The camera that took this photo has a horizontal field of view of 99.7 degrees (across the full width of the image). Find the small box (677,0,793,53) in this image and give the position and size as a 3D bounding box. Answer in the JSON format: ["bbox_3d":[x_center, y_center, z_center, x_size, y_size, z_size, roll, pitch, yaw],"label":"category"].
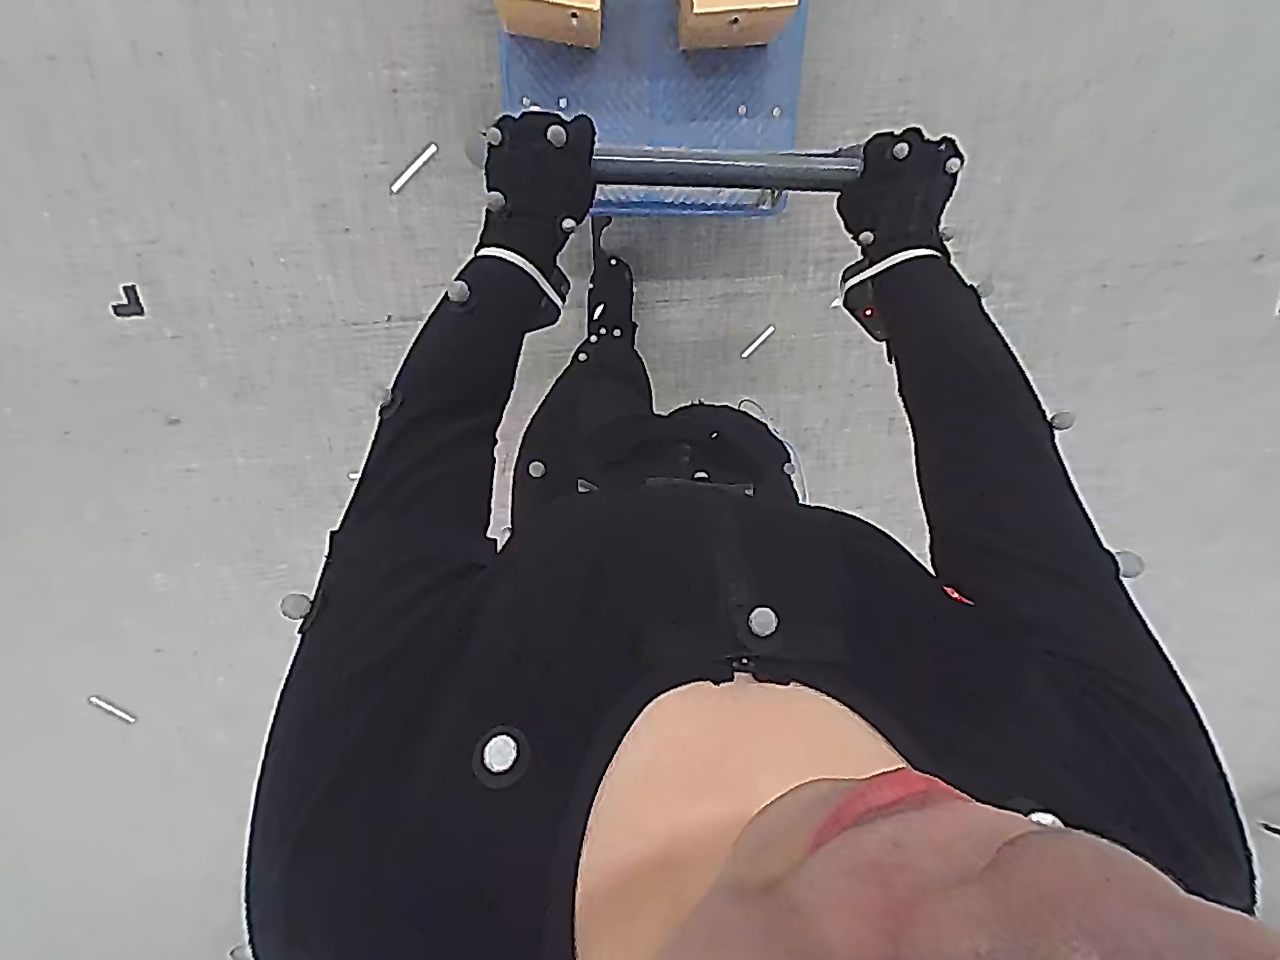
[{"bbox_3d":[0.154,-0.862,0.926,0.179,0.176,0.168,-6,112,-2],"label":"small box"}]

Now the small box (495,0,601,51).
[{"bbox_3d":[-0.152,-0.856,0.905,0.179,0.176,0.168,4,111,-8],"label":"small box"}]
